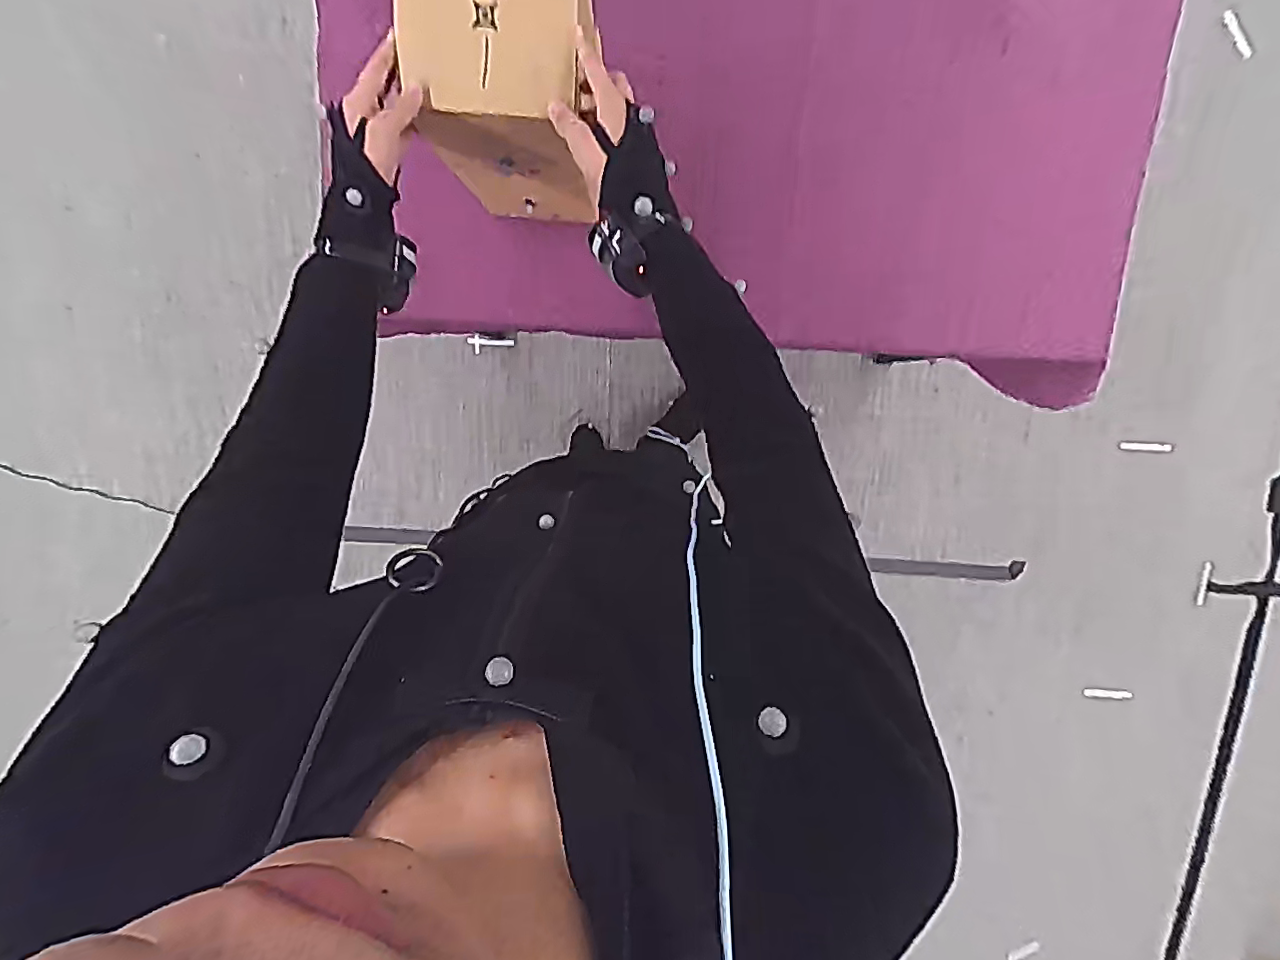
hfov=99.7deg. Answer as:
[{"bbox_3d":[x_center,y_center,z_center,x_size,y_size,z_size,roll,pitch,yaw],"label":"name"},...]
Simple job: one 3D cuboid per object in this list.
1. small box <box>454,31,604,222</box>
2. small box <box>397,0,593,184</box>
[{"bbox_3d":[-0.139,-0.466,0.728,0.168,0.176,0.179,5,100,-2],"label":"small box"},{"bbox_3d":[-0.138,-0.438,0.565,0.168,0.176,0.179,3,101,-2],"label":"small box"}]
